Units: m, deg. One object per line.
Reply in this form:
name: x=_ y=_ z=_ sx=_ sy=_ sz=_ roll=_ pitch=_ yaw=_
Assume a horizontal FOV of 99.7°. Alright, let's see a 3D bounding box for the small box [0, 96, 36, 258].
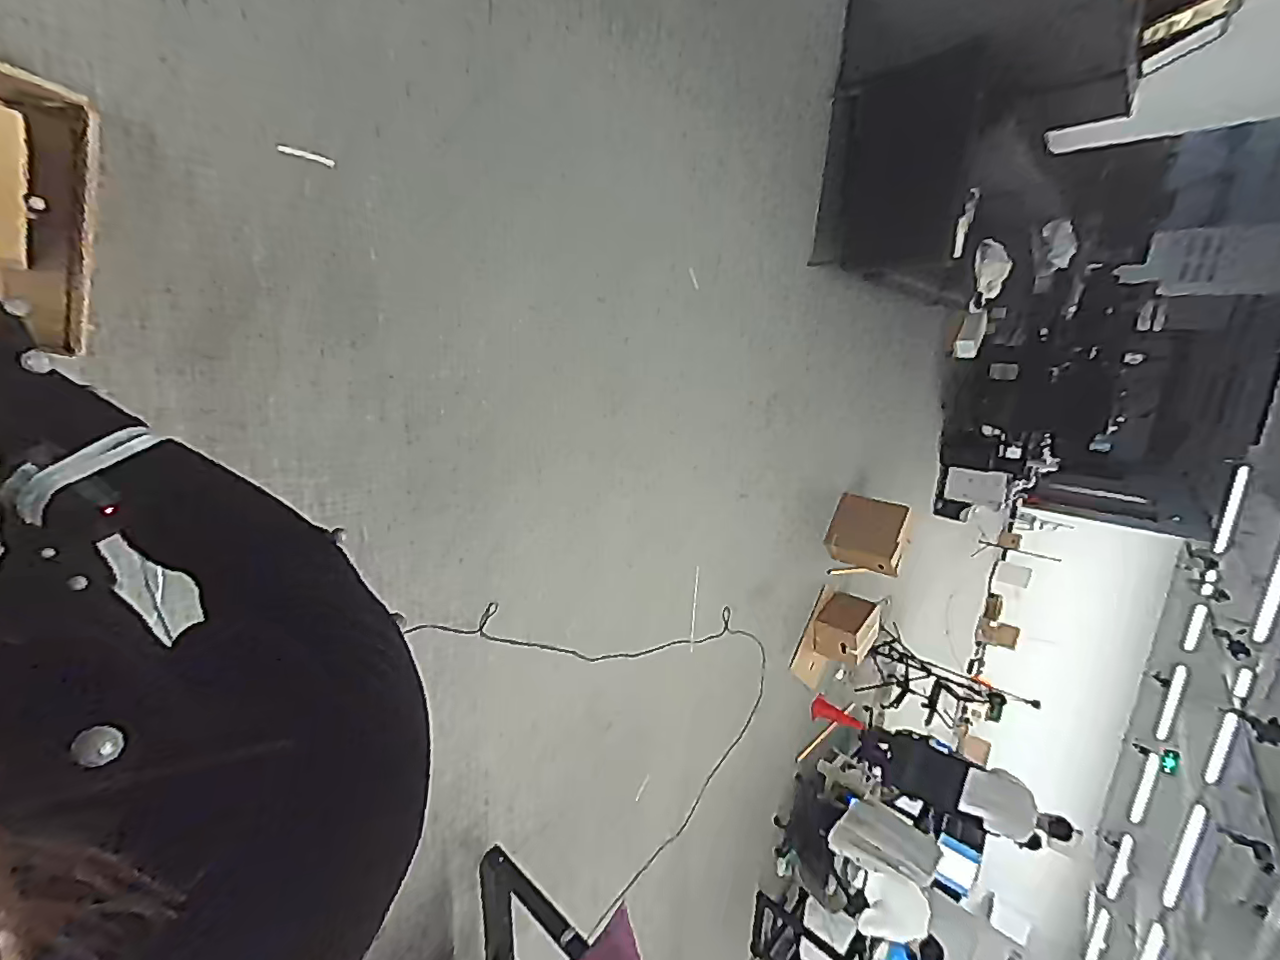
small box: x=-0.865 y=-0.387 z=0.660 sx=0.168 sy=0.176 sz=0.179 roll=0 pitch=103 yaw=-48
